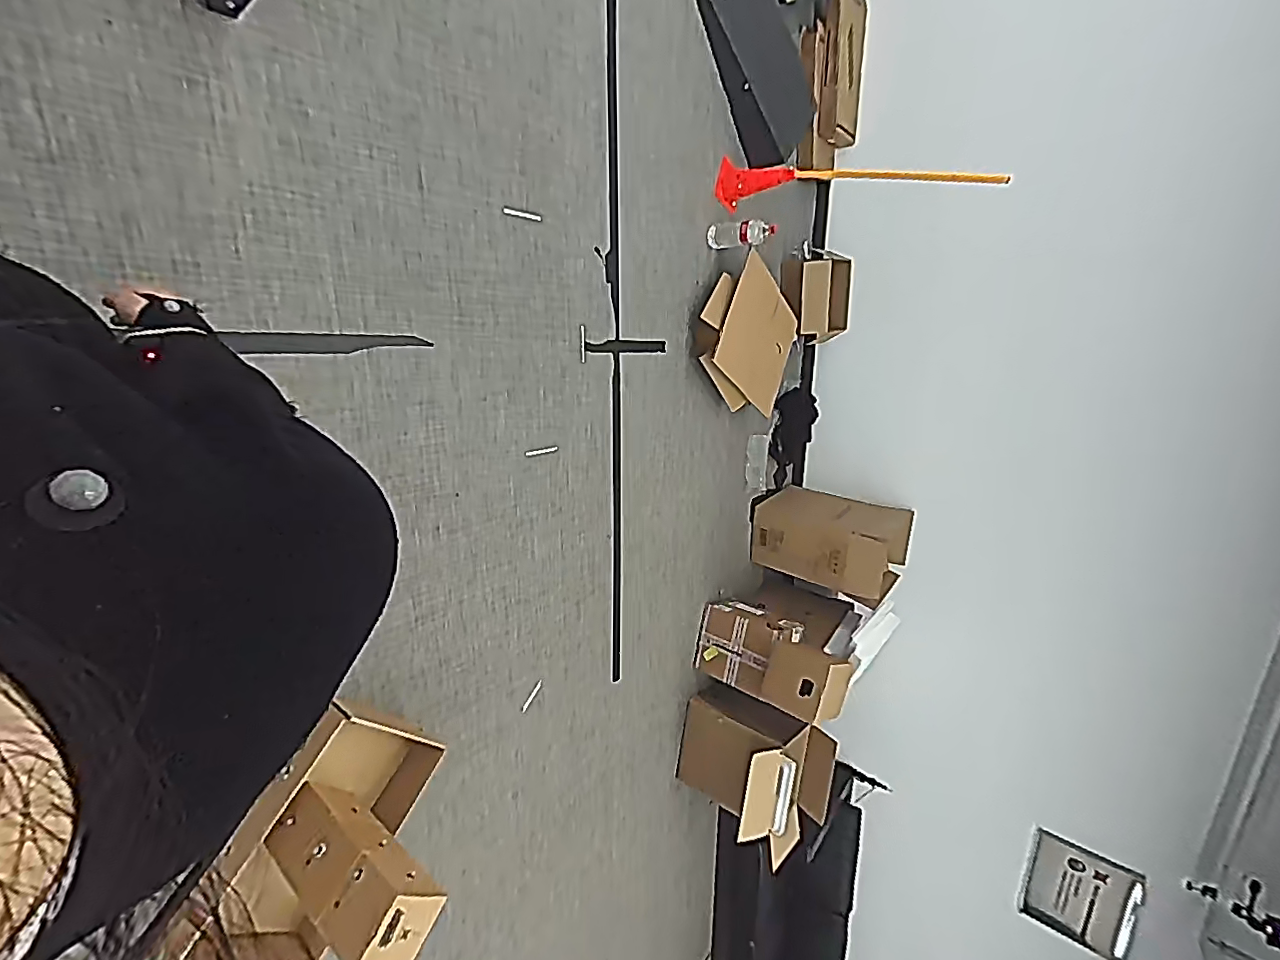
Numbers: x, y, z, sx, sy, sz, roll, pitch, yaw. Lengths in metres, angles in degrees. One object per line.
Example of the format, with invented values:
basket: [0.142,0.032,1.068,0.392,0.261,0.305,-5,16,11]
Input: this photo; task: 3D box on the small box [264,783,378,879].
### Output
small box: [-0.868,0.961,1.475,0.168,0.176,0.179,-59,139,-24]

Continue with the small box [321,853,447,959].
small box: [-0.610,1.022,1.285,0.168,0.176,0.179,-60,141,-22]

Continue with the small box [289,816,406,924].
small box: [-0.742,0.991,1.379,0.168,0.176,0.179,-60,139,-23]
